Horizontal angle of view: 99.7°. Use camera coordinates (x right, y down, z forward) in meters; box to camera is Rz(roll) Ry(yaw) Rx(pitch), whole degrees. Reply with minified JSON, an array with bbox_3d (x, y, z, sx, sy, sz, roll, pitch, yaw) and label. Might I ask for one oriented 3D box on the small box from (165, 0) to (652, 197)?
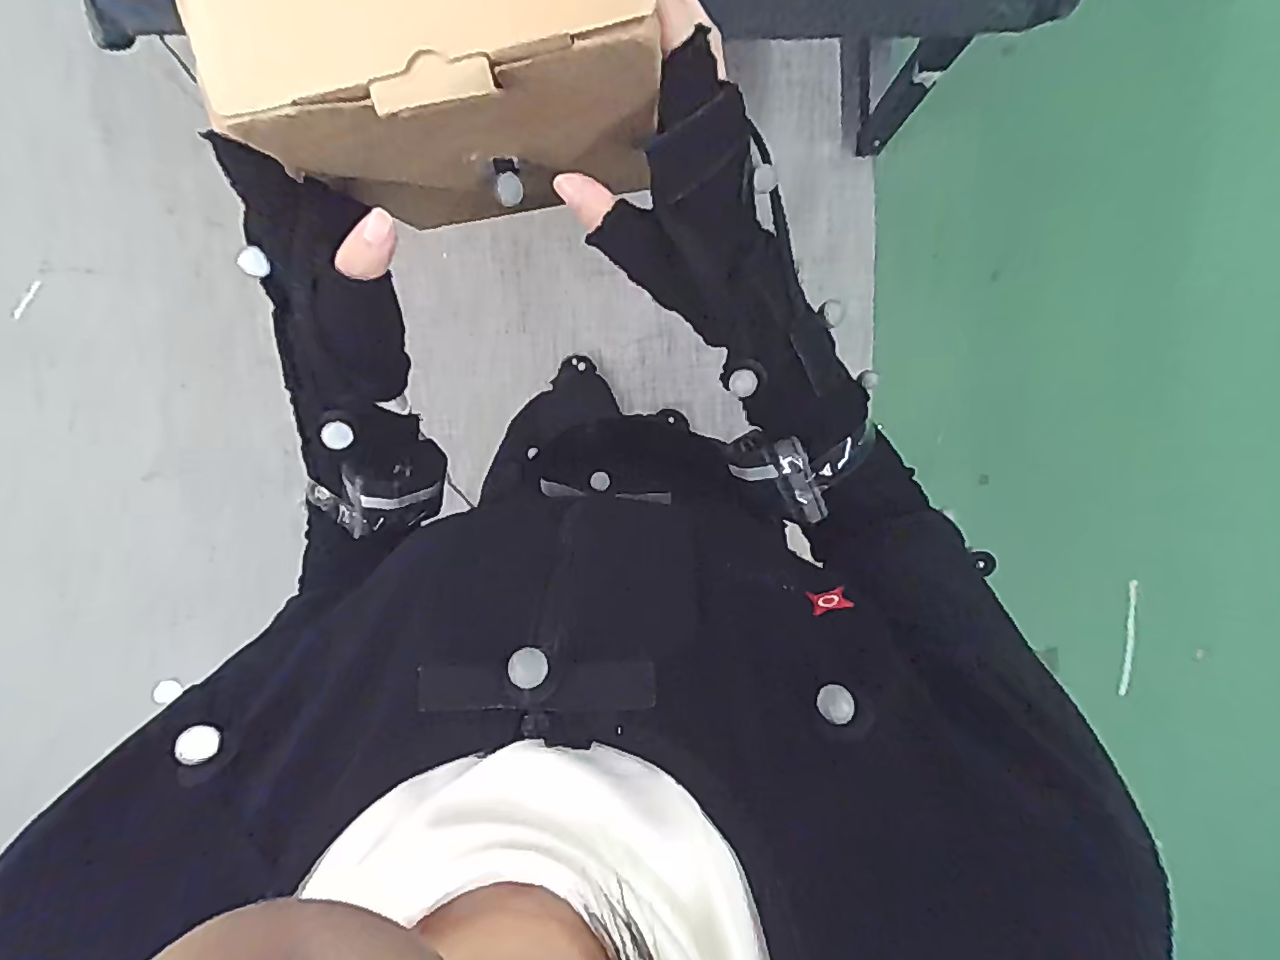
[{"bbox_3d":[-0.087,-0.247,0.247,0.168,0.176,0.179,-7,104,5],"label":"small box"}]
